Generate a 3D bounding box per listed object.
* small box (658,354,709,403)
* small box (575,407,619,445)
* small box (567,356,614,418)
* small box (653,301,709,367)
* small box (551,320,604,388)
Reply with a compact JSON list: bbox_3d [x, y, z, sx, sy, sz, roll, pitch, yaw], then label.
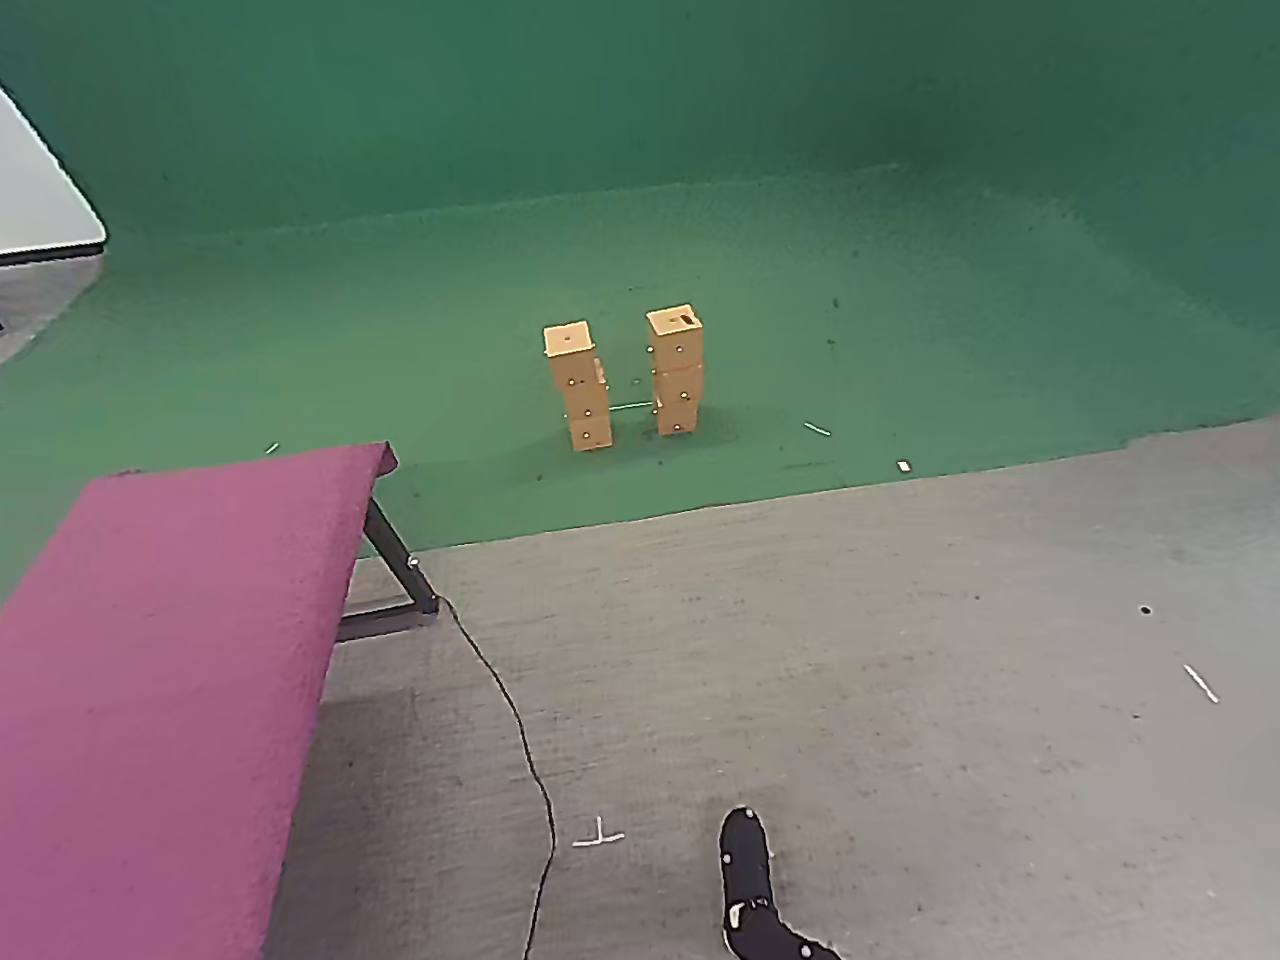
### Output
[{"bbox_3d":[0.172,-0.441,2.202,0.168,0.176,0.179,-16,50,-8],"label":"small box"},{"bbox_3d":[-0.186,-0.264,2.297,0.168,0.176,0.179,-10,48,-3],"label":"small box"},{"bbox_3d":[-0.202,-0.372,2.176,0.179,0.176,0.168,-11,48,-5],"label":"small box"},{"bbox_3d":[0.156,-0.563,2.089,0.179,0.176,0.168,-14,49,-7],"label":"small box"},{"bbox_3d":[-0.237,-0.478,2.054,0.168,0.176,0.179,-12,49,-2],"label":"small box"}]
